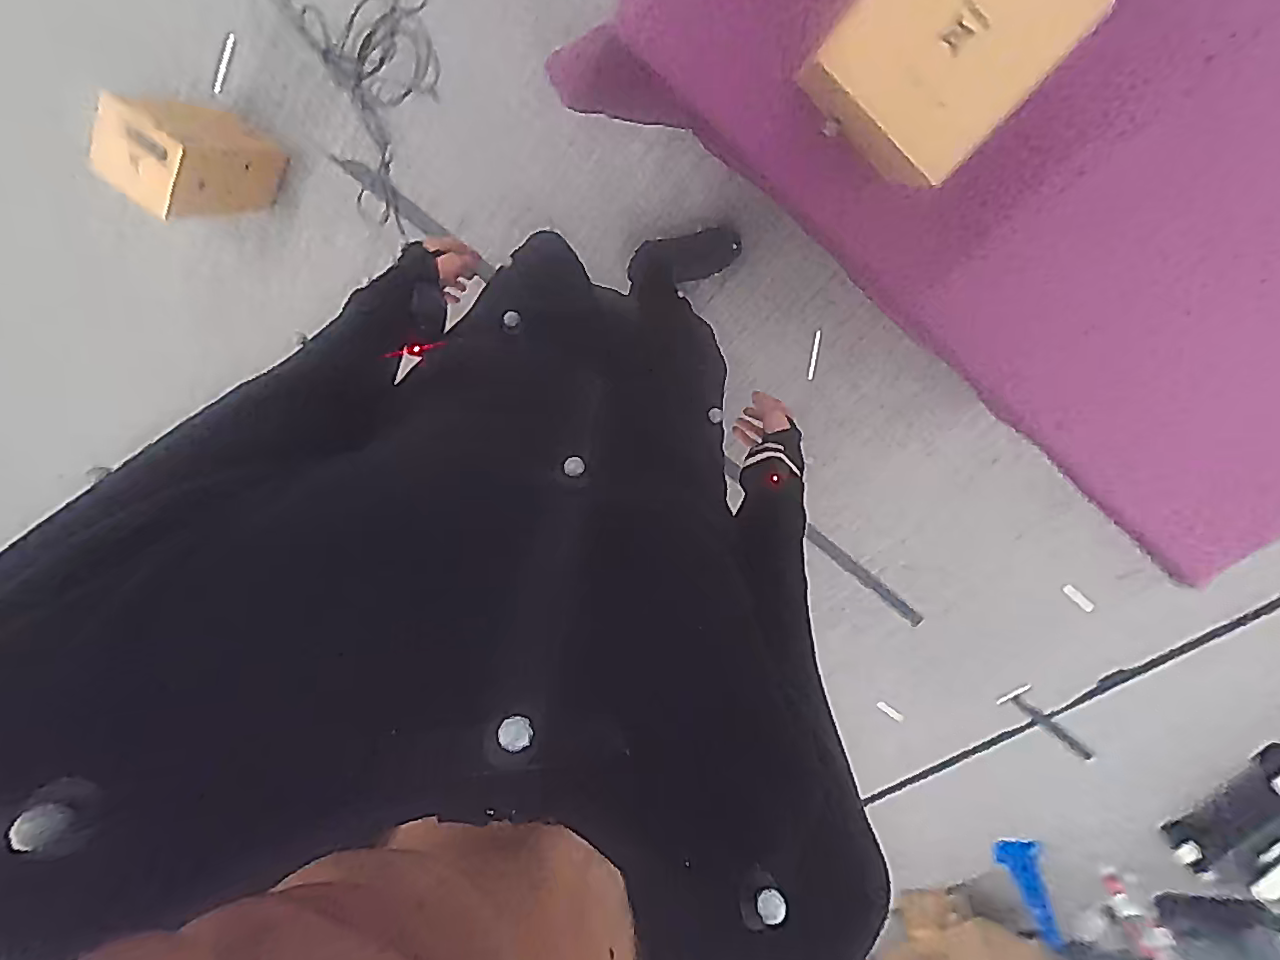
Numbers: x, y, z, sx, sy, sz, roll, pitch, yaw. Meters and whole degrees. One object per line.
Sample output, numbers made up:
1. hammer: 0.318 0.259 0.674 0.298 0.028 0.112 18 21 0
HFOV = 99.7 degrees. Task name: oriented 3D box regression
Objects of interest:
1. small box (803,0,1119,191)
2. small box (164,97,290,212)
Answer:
1. small box: 0.280 -0.415 0.520 0.168 0.176 0.179 37 119 -14
2. small box: -1.006 -0.794 1.330 0.168 0.176 0.179 36 119 -13
